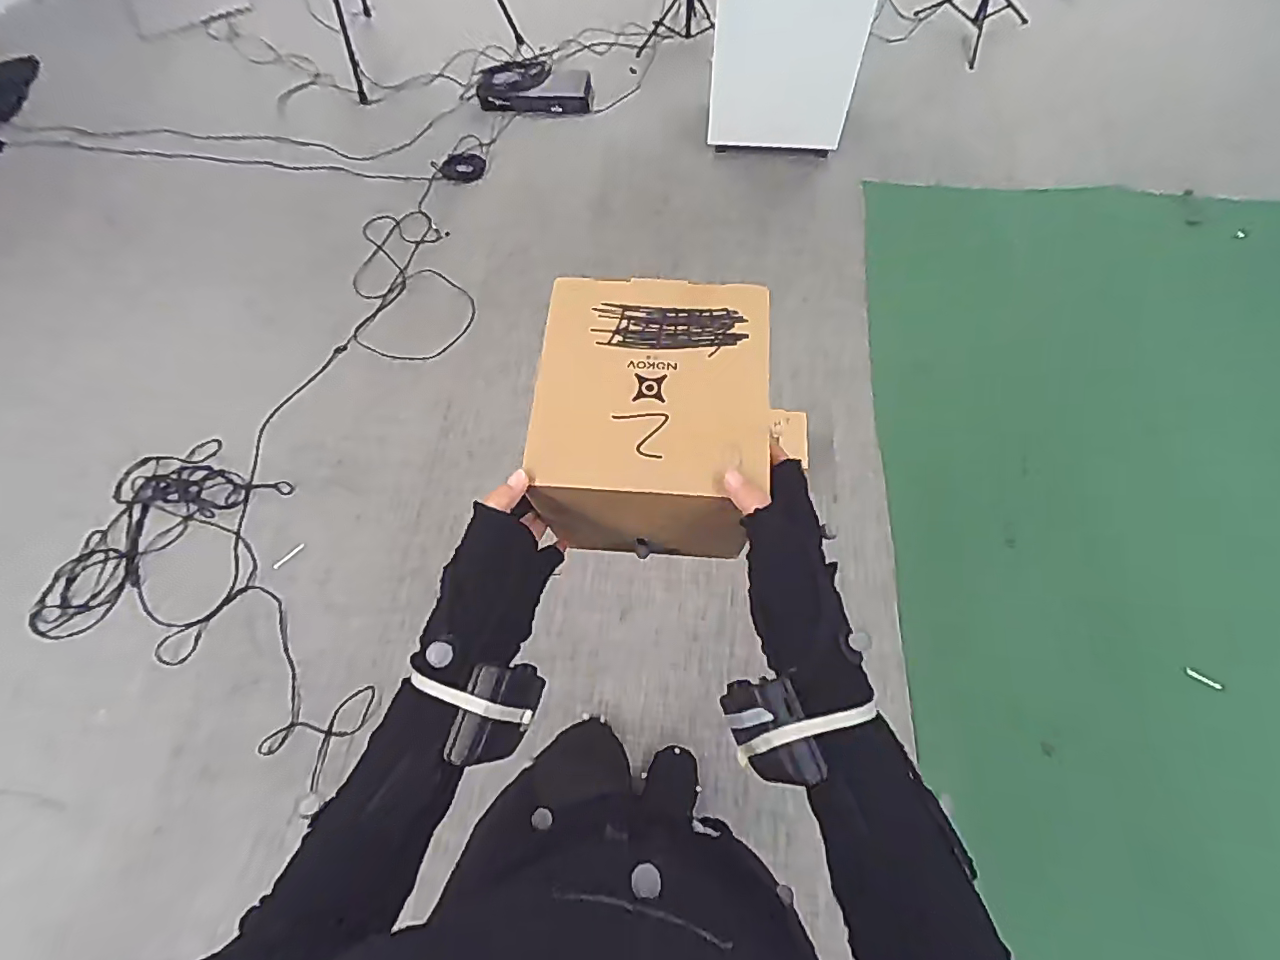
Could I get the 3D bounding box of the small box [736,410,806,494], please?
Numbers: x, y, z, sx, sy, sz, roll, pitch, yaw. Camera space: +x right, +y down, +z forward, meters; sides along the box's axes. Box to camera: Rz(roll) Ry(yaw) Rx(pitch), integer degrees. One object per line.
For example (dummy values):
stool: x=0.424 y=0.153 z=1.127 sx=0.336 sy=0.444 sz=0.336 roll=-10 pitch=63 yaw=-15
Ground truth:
small box: x=0.363 y=-0.072 z=1.508 sx=0.168 sy=0.176 sz=0.179 roll=5 pitch=64 yaw=4
